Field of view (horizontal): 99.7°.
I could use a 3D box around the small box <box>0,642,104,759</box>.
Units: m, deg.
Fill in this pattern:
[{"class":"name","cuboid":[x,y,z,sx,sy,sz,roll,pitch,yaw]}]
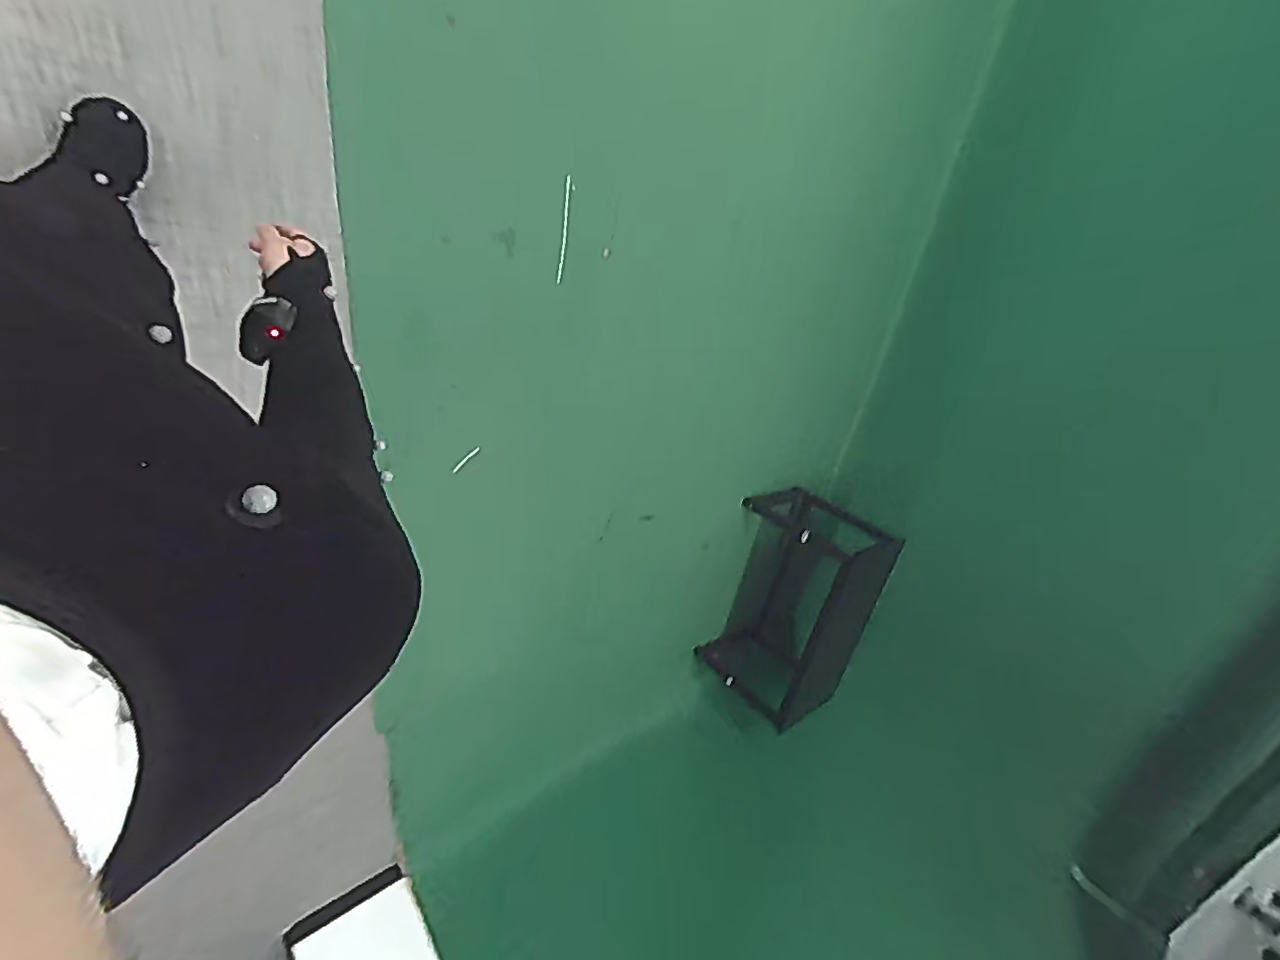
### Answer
[{"class":"small box","cuboid":[-1.448,0.530,1.323,0.179,0.176,0.168,-10,123,-41]}]
